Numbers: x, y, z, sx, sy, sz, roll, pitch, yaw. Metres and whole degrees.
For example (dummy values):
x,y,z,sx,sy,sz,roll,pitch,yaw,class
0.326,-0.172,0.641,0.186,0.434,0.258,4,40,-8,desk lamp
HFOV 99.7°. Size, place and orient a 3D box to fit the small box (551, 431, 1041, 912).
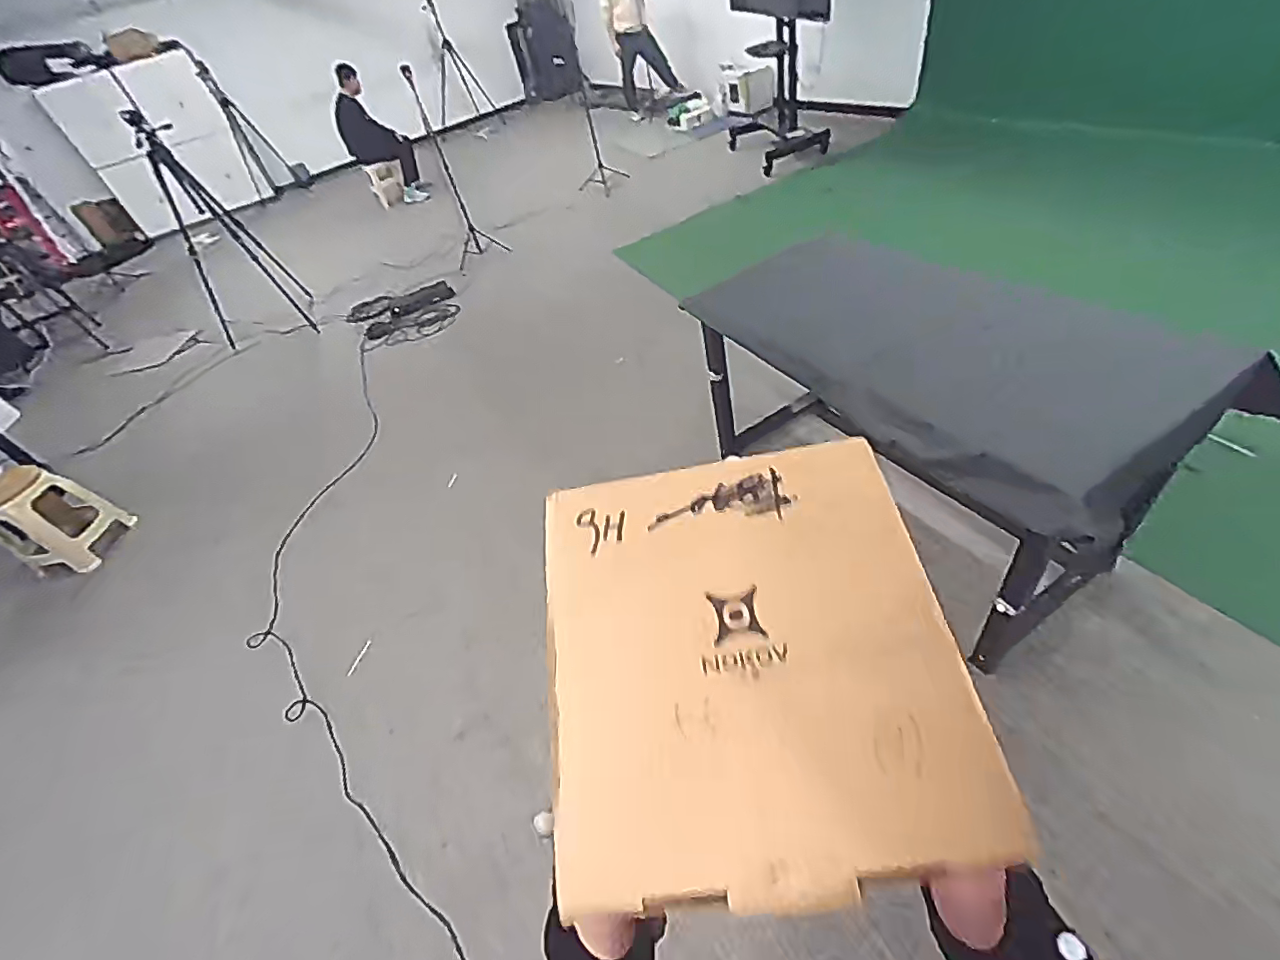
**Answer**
x,y,z,sx,sy,sz,roll,pitch,yaw,class
0.054,0.102,0.291,0.168,0.176,0.179,-9,57,2,small box
